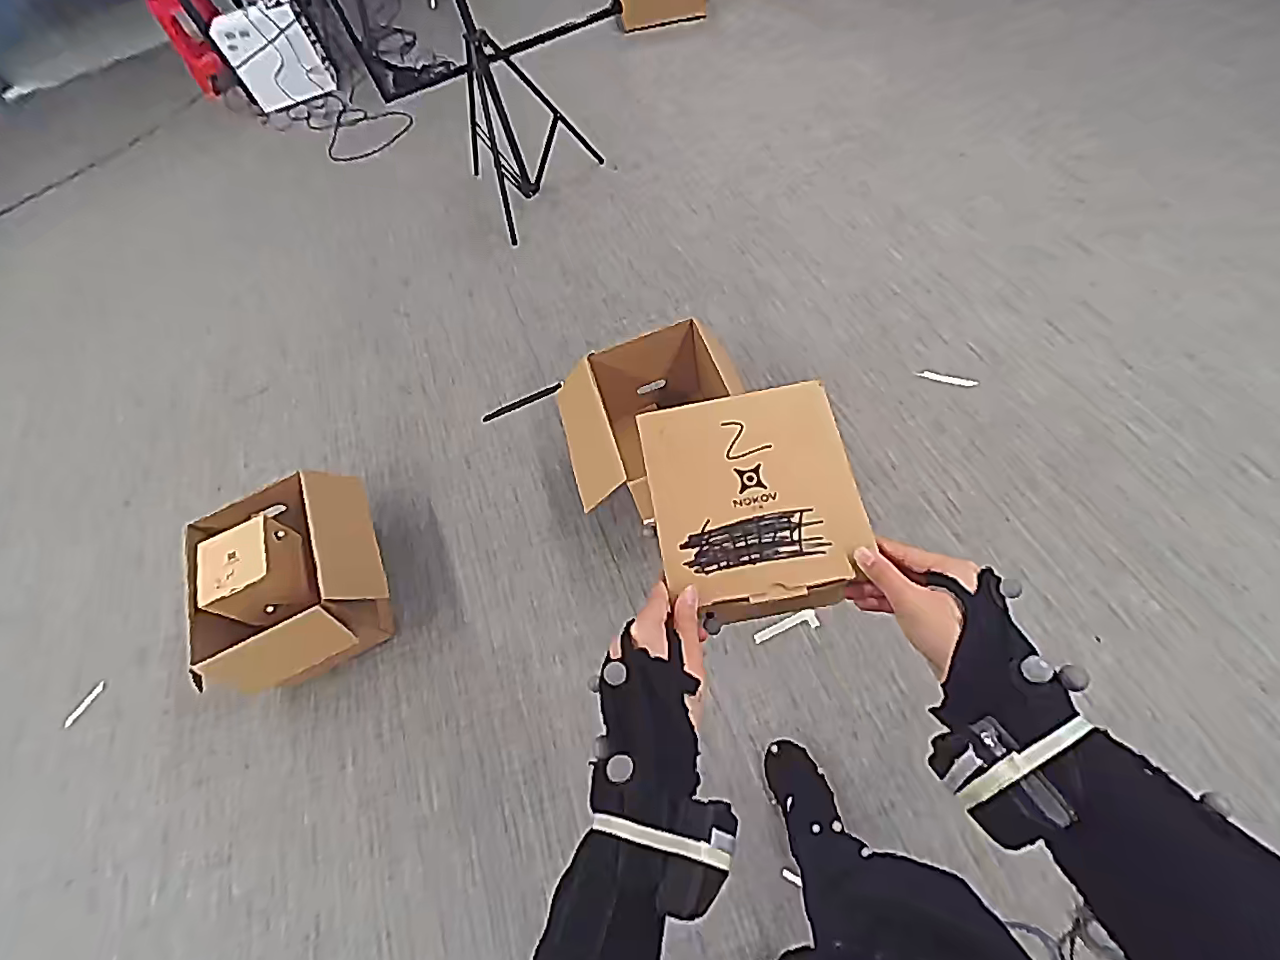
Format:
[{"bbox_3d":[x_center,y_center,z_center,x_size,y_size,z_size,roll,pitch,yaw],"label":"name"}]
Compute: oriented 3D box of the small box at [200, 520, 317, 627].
[{"bbox_3d":[-0.923,0.232,1.318,0.168,0.176,0.179,-26,60,-4],"label":"small box"}]
